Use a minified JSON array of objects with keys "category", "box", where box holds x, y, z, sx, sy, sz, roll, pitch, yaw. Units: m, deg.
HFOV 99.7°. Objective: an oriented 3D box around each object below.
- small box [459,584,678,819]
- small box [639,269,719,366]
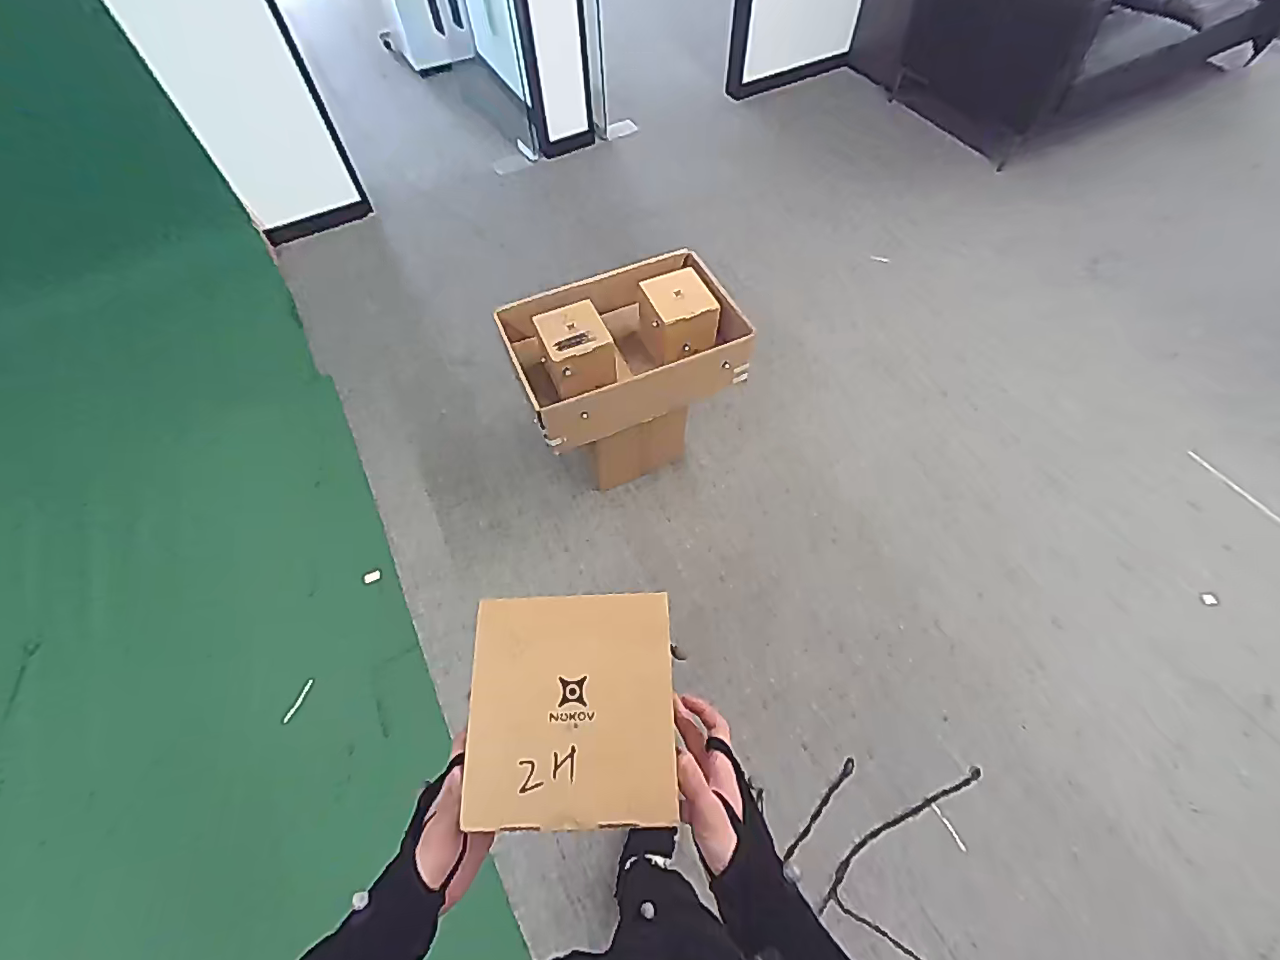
[{"category":"small box","box":[-0.053,0.206,0.508,0.168,0.176,0.179,-3,65,2]},{"category":"small box","box":[0.103,-0.455,1.521,0.168,0.176,0.179,-22,62,-11]}]
